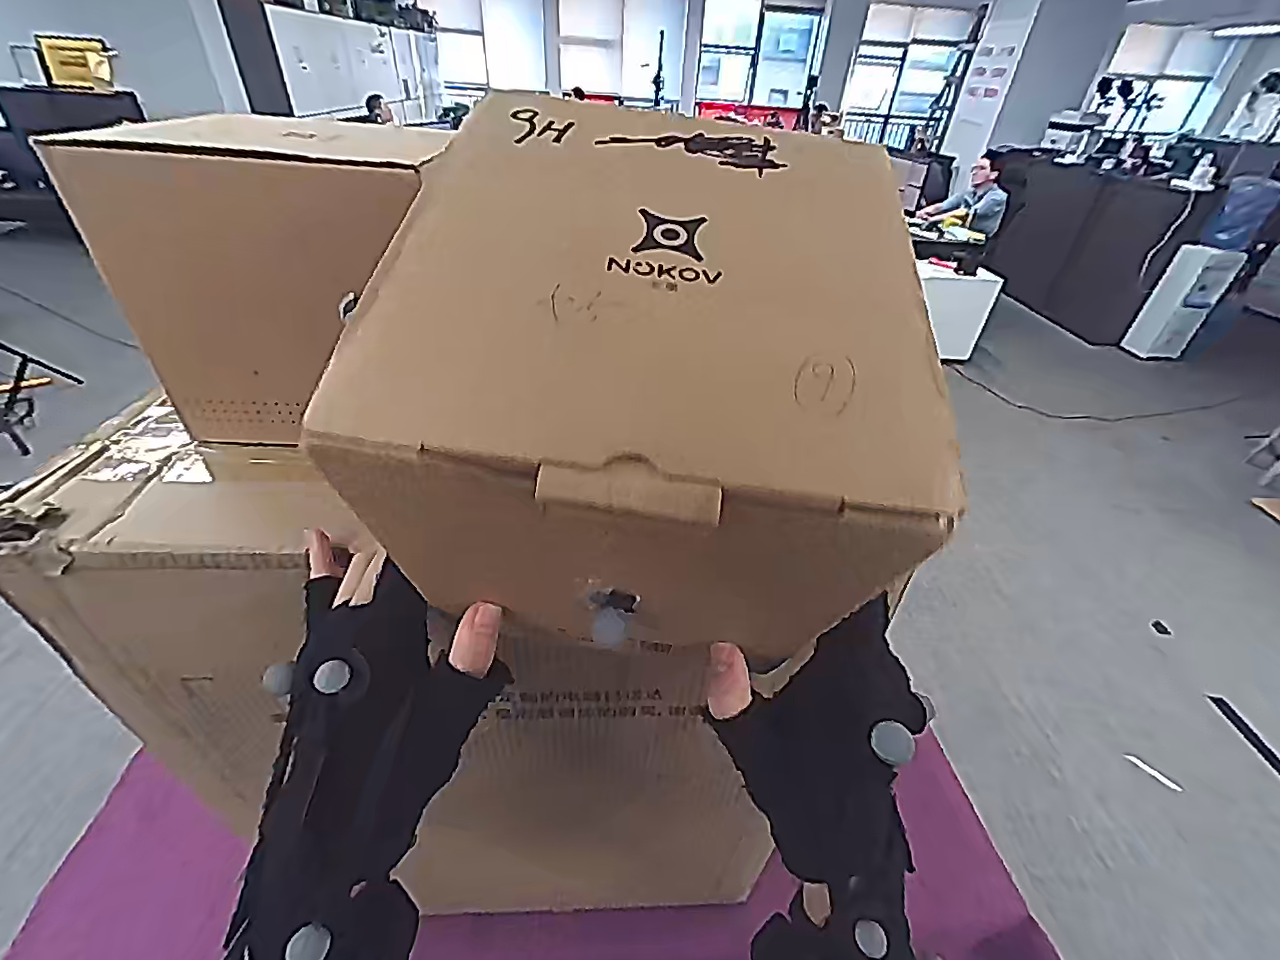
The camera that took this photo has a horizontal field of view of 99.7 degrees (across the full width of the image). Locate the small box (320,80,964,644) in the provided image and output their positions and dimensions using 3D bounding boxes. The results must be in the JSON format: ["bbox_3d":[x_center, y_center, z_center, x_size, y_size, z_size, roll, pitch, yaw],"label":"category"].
[{"bbox_3d":[0.006,-0.038,0.244,0.168,0.176,0.179,8,58,1],"label":"small box"}]

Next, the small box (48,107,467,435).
[{"bbox_3d":[-0.193,-0.139,0.364,0.179,0.176,0.168,0,37,-4],"label":"small box"}]
